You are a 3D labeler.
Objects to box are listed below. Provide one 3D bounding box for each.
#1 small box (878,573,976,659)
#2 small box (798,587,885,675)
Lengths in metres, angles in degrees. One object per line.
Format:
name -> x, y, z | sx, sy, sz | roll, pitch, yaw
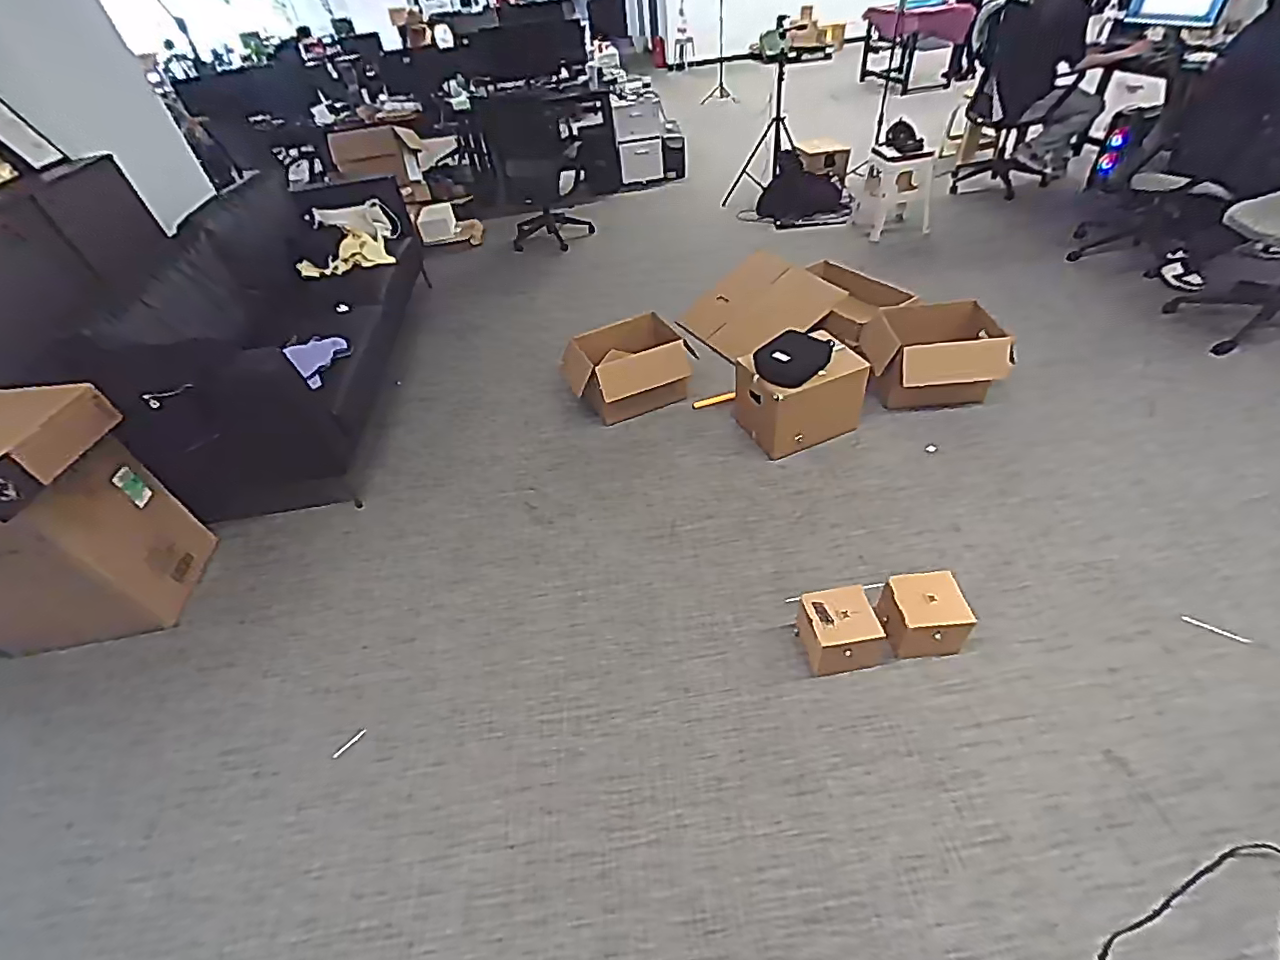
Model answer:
small box -> 0.792, 0.382, 1.513 | 0.179, 0.176, 0.168 | -7, 44, 4
small box -> 0.550, 0.425, 1.508 | 0.179, 0.176, 0.168 | -9, 44, -1
